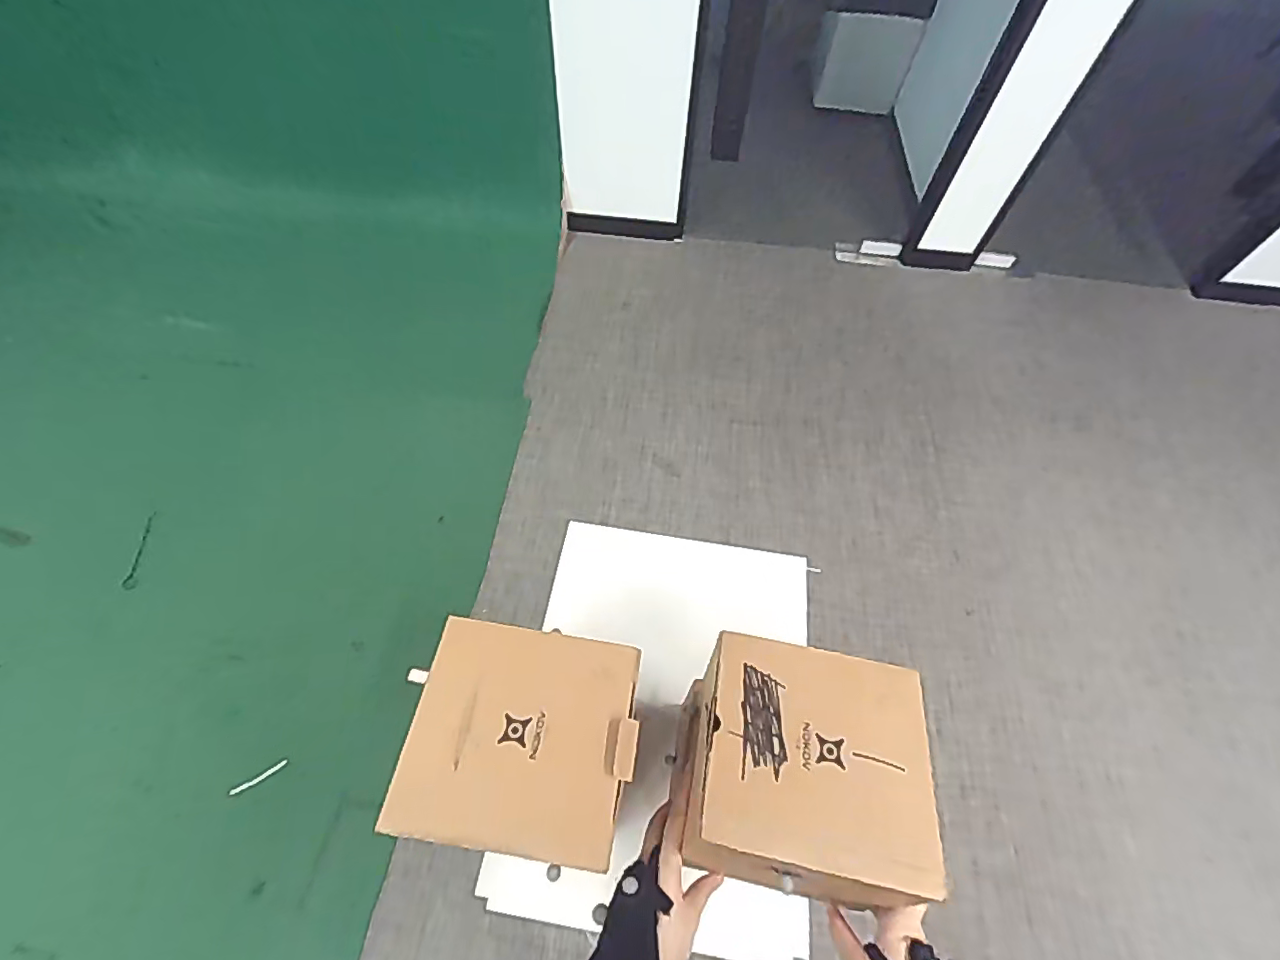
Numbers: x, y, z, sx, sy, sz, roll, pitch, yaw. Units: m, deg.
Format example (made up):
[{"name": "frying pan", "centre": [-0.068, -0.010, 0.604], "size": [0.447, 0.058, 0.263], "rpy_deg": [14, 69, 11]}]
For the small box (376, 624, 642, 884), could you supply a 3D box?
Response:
[{"name": "small box", "centre": [-0.100, 0.251, 0.500], "size": [0.179, 0.176, 0.168], "rpy_deg": [9, 56, 3]}]

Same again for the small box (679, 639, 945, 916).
[{"name": "small box", "centre": [0.136, 0.270, 0.486], "size": [0.179, 0.176, 0.168], "rpy_deg": [11, 50, 6]}]
